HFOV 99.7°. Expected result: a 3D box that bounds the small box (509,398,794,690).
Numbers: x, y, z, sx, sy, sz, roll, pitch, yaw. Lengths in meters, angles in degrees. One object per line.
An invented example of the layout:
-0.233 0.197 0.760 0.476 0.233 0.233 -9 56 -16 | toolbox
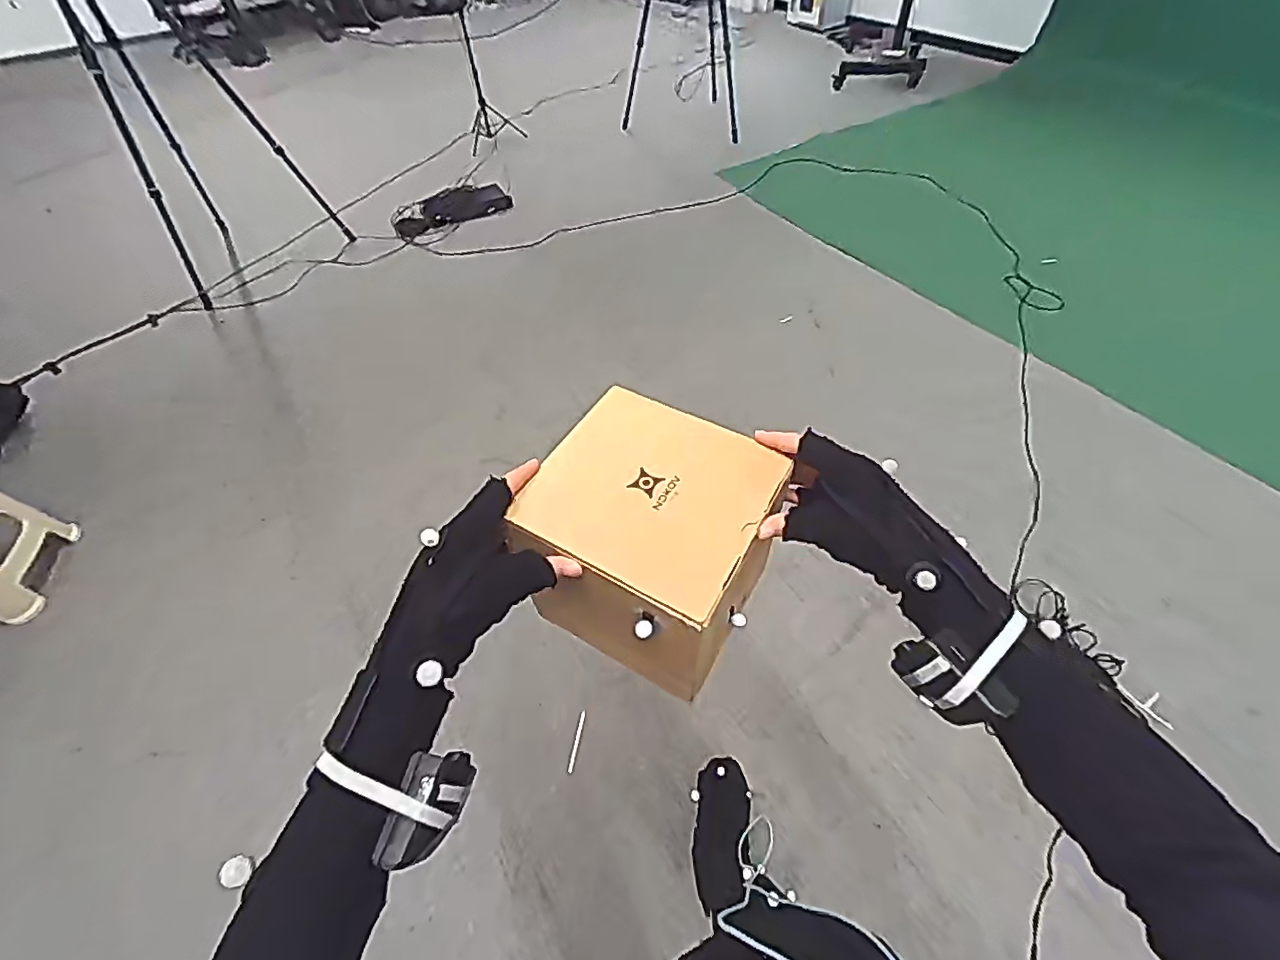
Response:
0.013 0.060 0.491 0.179 0.176 0.168 25 56 20 | small box
